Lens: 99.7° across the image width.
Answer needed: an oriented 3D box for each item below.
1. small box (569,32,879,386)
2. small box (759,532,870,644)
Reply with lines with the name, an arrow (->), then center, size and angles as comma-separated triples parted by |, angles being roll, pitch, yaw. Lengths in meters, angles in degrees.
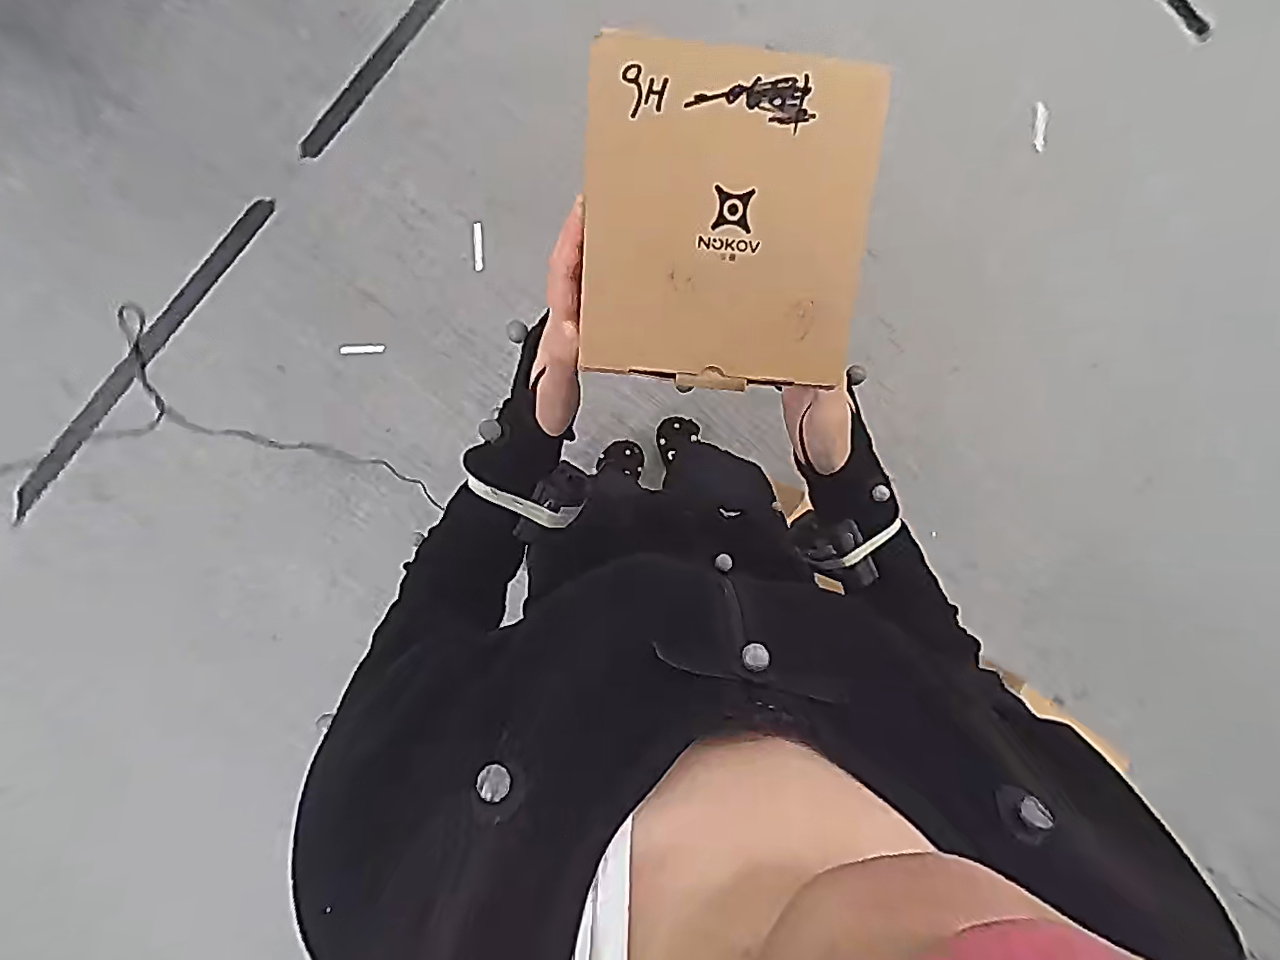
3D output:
small box -> 0.039, -0.170, 0.388 | 0.168, 0.176, 0.179 | 2, 106, -6
small box -> 0.384, 0.232, 1.173 | 0.168, 0.176, 0.179 | 32, 92, -7
